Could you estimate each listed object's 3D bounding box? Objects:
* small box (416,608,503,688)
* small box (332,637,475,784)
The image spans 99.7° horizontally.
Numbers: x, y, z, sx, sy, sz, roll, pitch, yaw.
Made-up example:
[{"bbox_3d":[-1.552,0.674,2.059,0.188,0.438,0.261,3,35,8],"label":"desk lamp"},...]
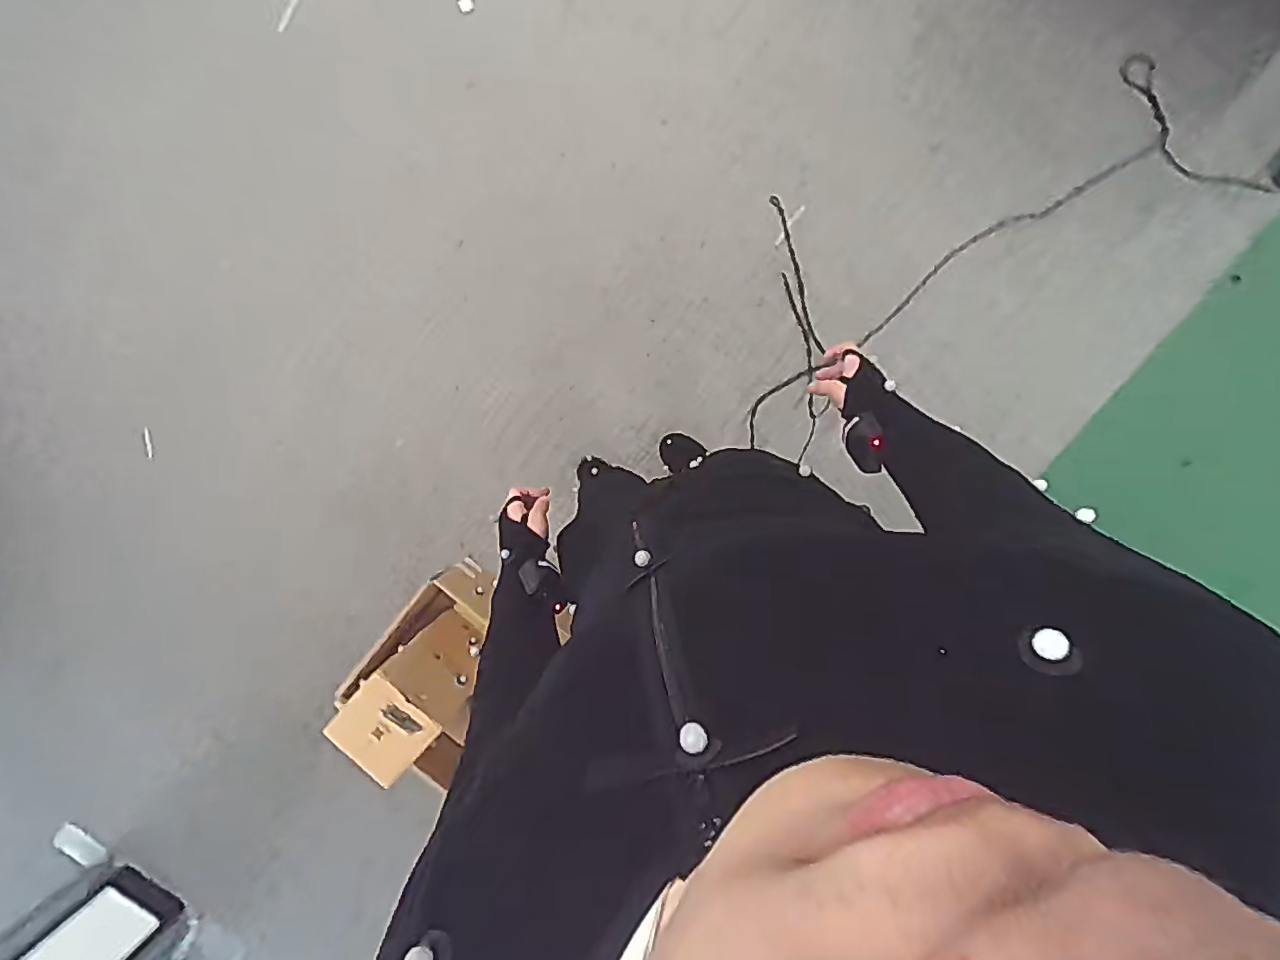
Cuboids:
[{"bbox_3d":[-0.447,0.431,1.249,0.168,0.176,0.179,41,99,0],"label":"small box"},{"bbox_3d":[-0.458,0.450,1.085,0.168,0.176,0.179,42,100,0],"label":"small box"}]
